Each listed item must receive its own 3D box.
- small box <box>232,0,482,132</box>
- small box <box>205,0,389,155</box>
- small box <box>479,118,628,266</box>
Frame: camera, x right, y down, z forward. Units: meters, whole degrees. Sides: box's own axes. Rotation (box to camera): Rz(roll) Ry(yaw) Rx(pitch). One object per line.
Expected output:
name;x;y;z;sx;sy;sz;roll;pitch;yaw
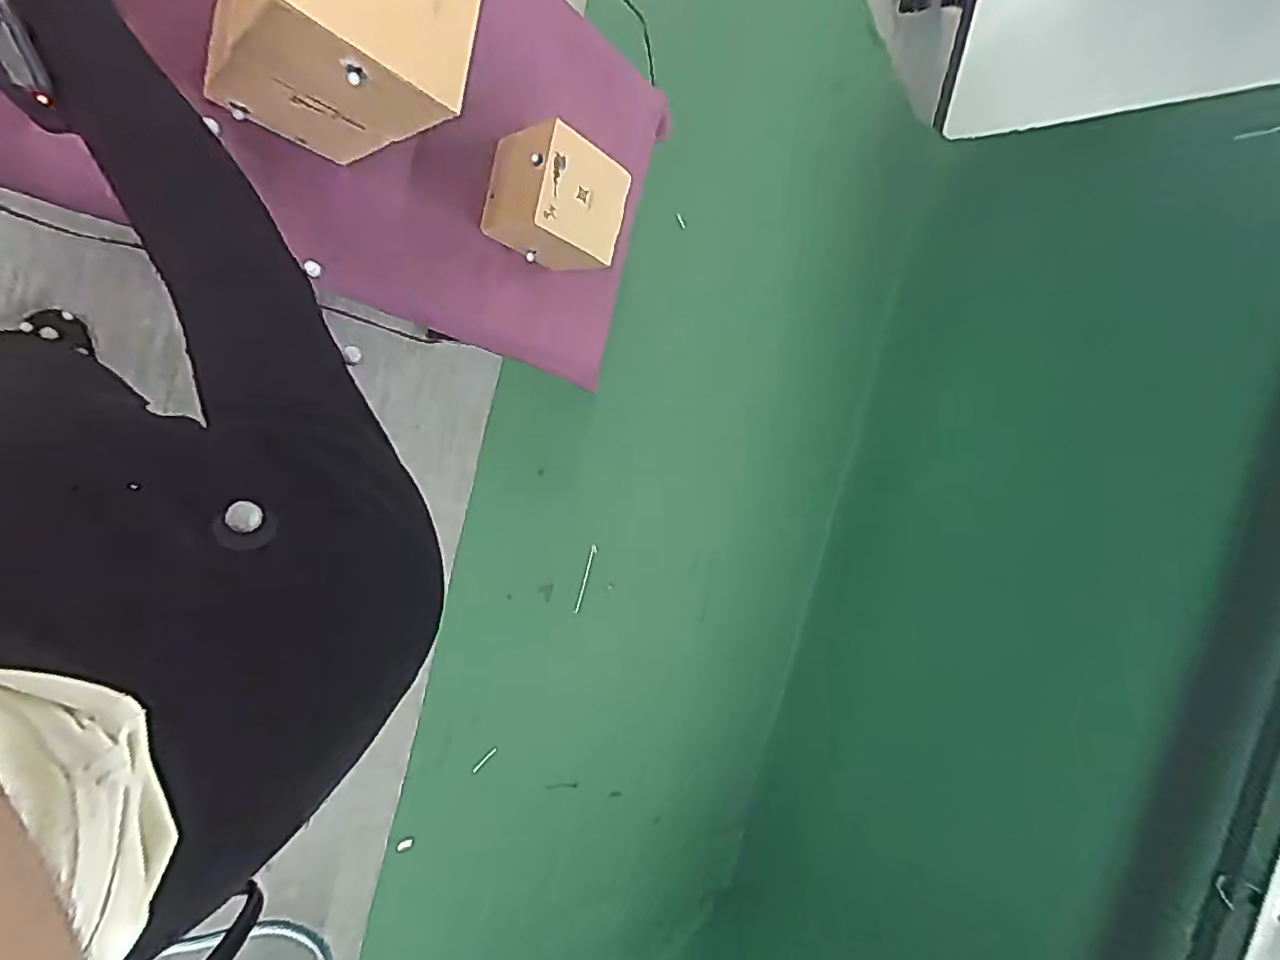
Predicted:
small box;-0.288;-0.493;0.554;0.179;0.176;0.168;7;98;-50
small box;-0.406;-0.532;0.660;0.168;0.176;0.179;7;97;-49
small box;-0.153;-0.493;0.956;0.179;0.176;0.168;9;95;-49
